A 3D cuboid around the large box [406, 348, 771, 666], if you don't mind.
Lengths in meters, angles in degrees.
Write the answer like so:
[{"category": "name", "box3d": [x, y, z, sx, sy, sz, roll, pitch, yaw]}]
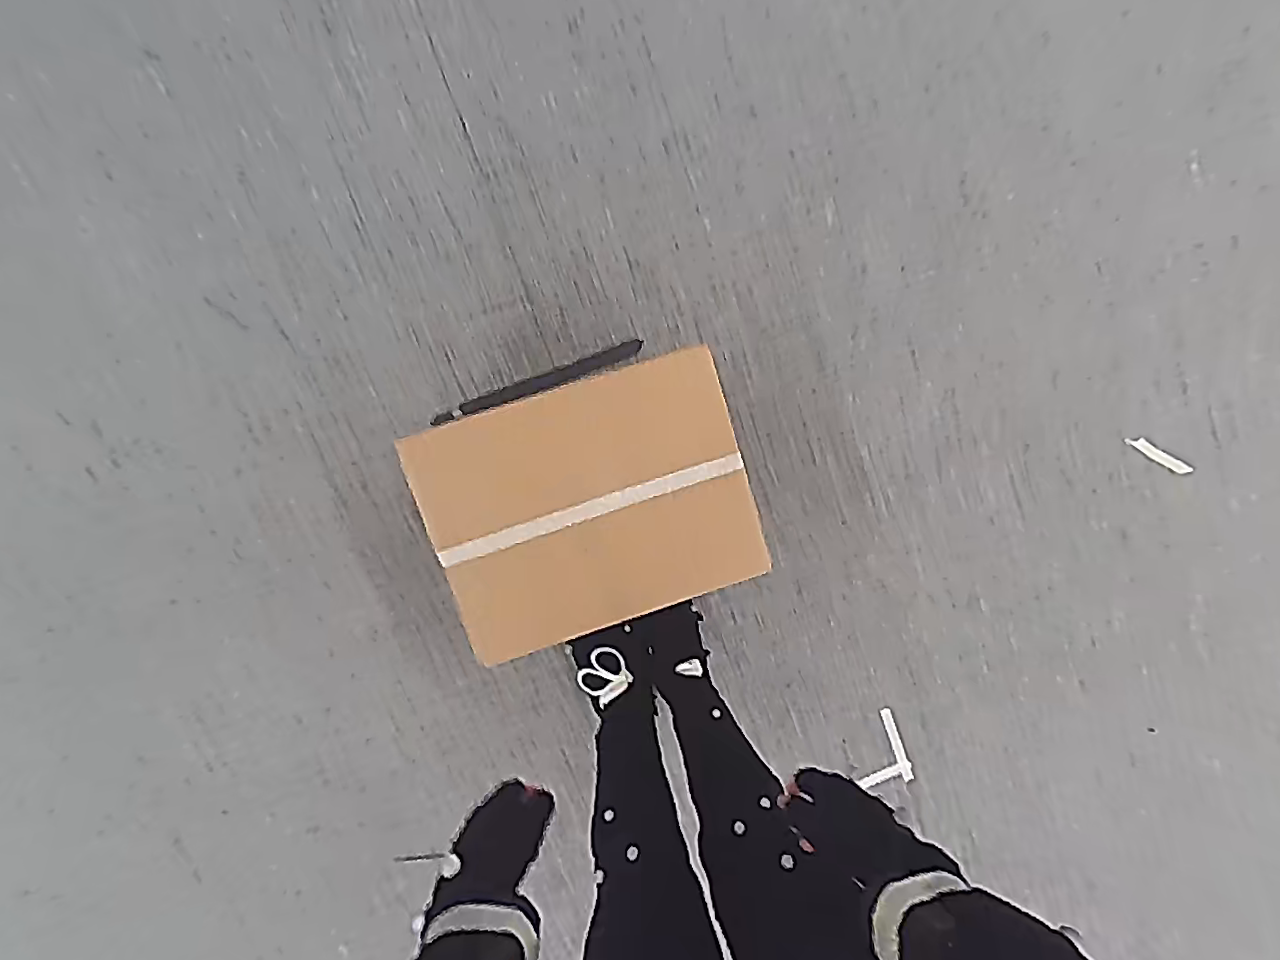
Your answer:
[{"category": "large box", "box3d": [-0.071, 0.021, 0.837, 0.408, 0.320, 0.320, -18, 100, -3]}]
